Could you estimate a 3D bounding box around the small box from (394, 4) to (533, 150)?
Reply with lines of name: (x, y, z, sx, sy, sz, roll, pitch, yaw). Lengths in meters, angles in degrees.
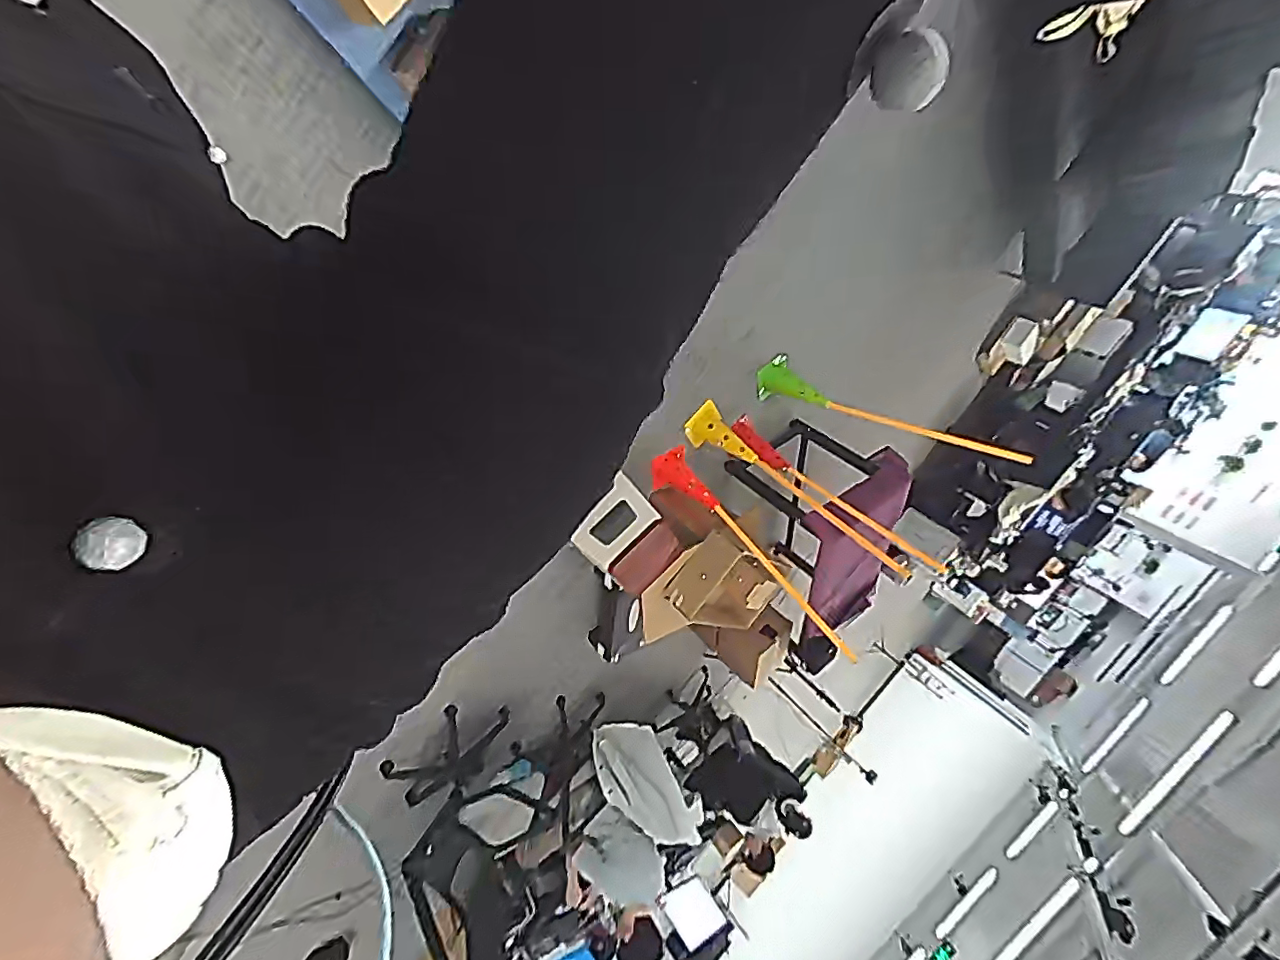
small box: (-0.361, -0.821, 1.105, 0.168, 0.176, 0.179, -52, 142, 1)

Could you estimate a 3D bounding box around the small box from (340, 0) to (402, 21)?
small box: (-0.476, -0.925, 0.910, 0.168, 0.176, 0.179, -49, 141, -1)
